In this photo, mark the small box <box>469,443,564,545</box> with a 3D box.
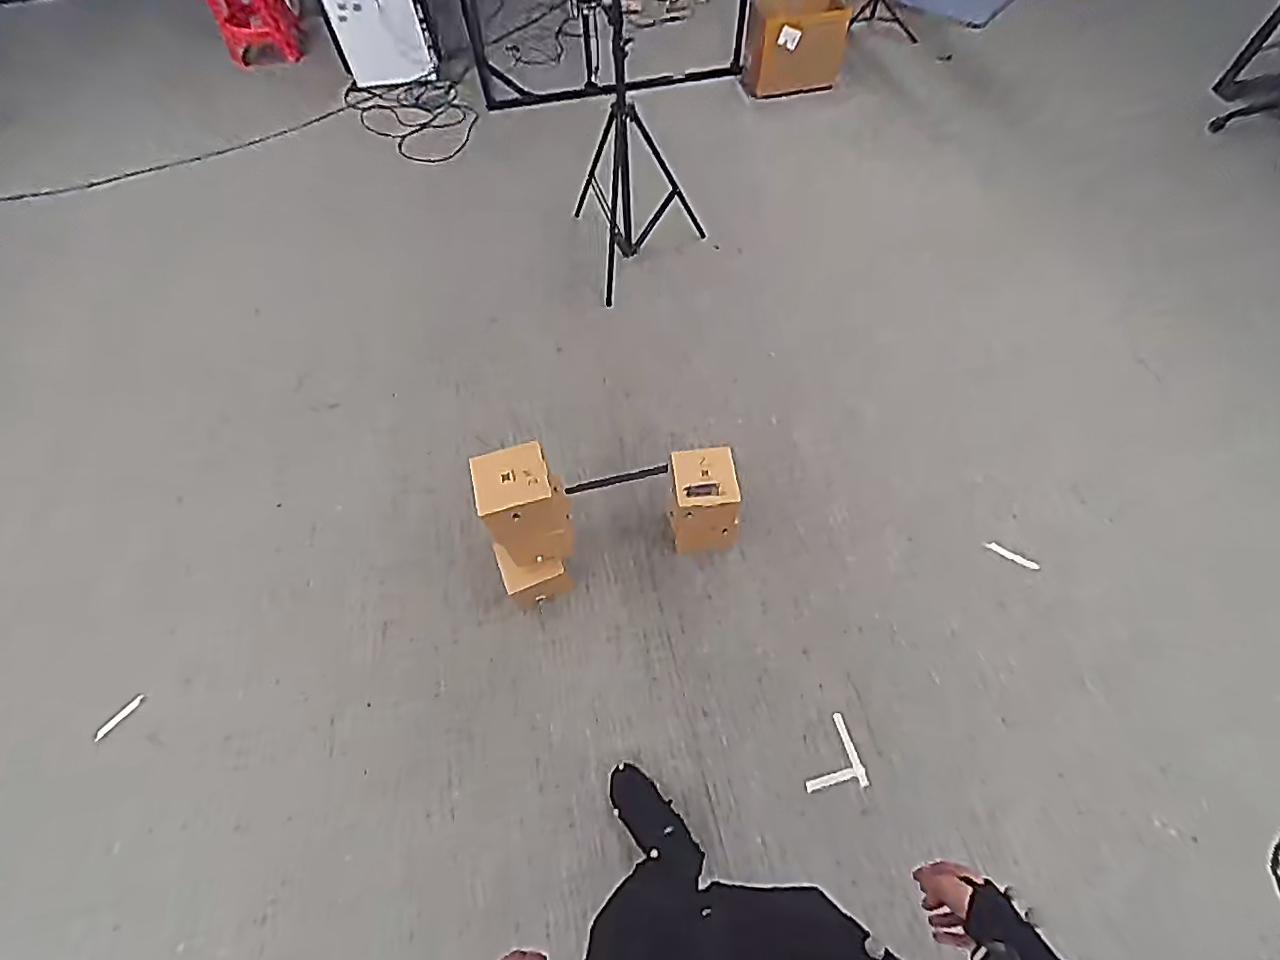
[{"bbox_3d":[-0.299,0.040,1.327,0.179,0.176,0.168,-15,60,-6],"label":"small box"}]

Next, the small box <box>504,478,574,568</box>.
[{"bbox_3d":[-0.278,0.119,1.470,0.168,0.176,0.179,-9,60,-2],"label":"small box"}]

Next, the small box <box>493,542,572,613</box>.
[{"bbox_3d":[-0.311,0.261,1.578,0.168,0.176,0.179,-22,62,-10],"label":"small box"}]

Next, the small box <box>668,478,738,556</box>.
[{"bbox_3d":[0.185,0.117,1.643,0.179,0.176,0.168,-11,60,-5],"label":"small box"}]
